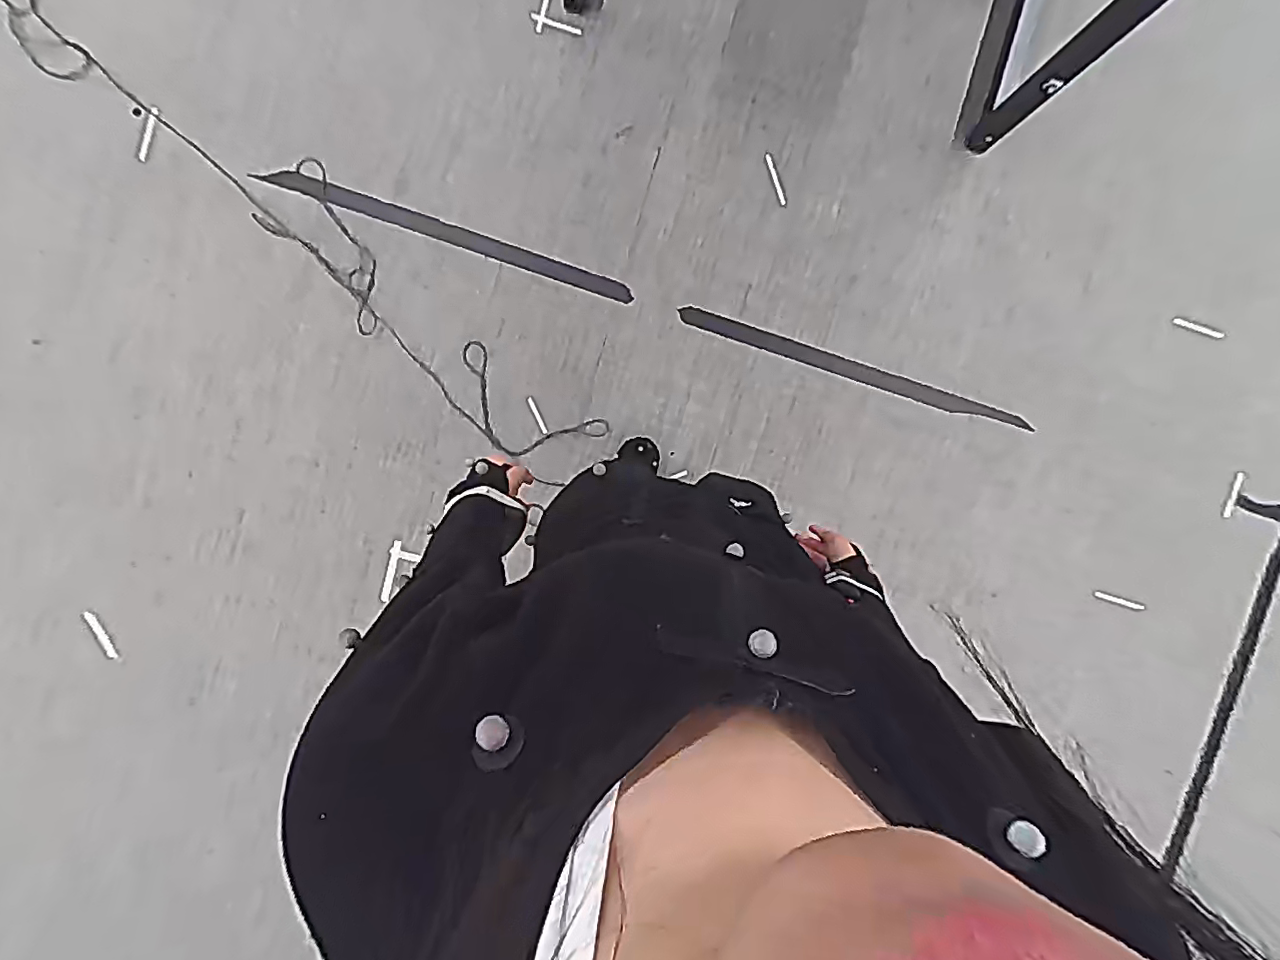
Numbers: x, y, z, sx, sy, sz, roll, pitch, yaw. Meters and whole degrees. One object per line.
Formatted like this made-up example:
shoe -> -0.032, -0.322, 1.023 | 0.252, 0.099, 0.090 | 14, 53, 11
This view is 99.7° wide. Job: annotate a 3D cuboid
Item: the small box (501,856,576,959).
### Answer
small box -> -0.266, 1.157, 1.448 | 0.168, 0.176, 0.179 | 7, 93, -4
